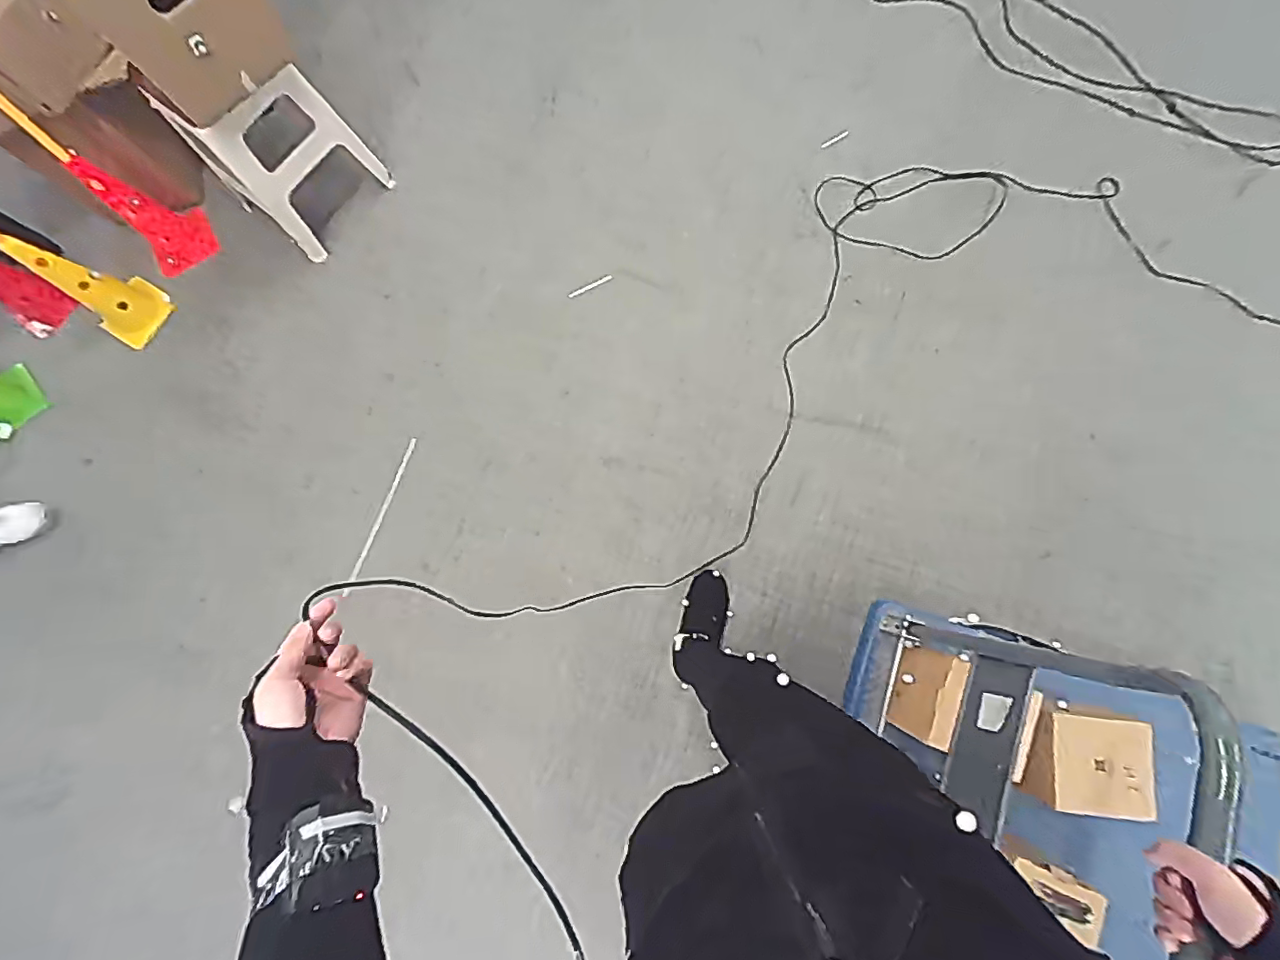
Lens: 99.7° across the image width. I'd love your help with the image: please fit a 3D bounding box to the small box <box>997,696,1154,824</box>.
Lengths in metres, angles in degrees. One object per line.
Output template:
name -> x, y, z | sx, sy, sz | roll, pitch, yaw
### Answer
small box -> 0.815, 0.521, 1.032 | 0.179, 0.176, 0.168 | 7, 81, 2
